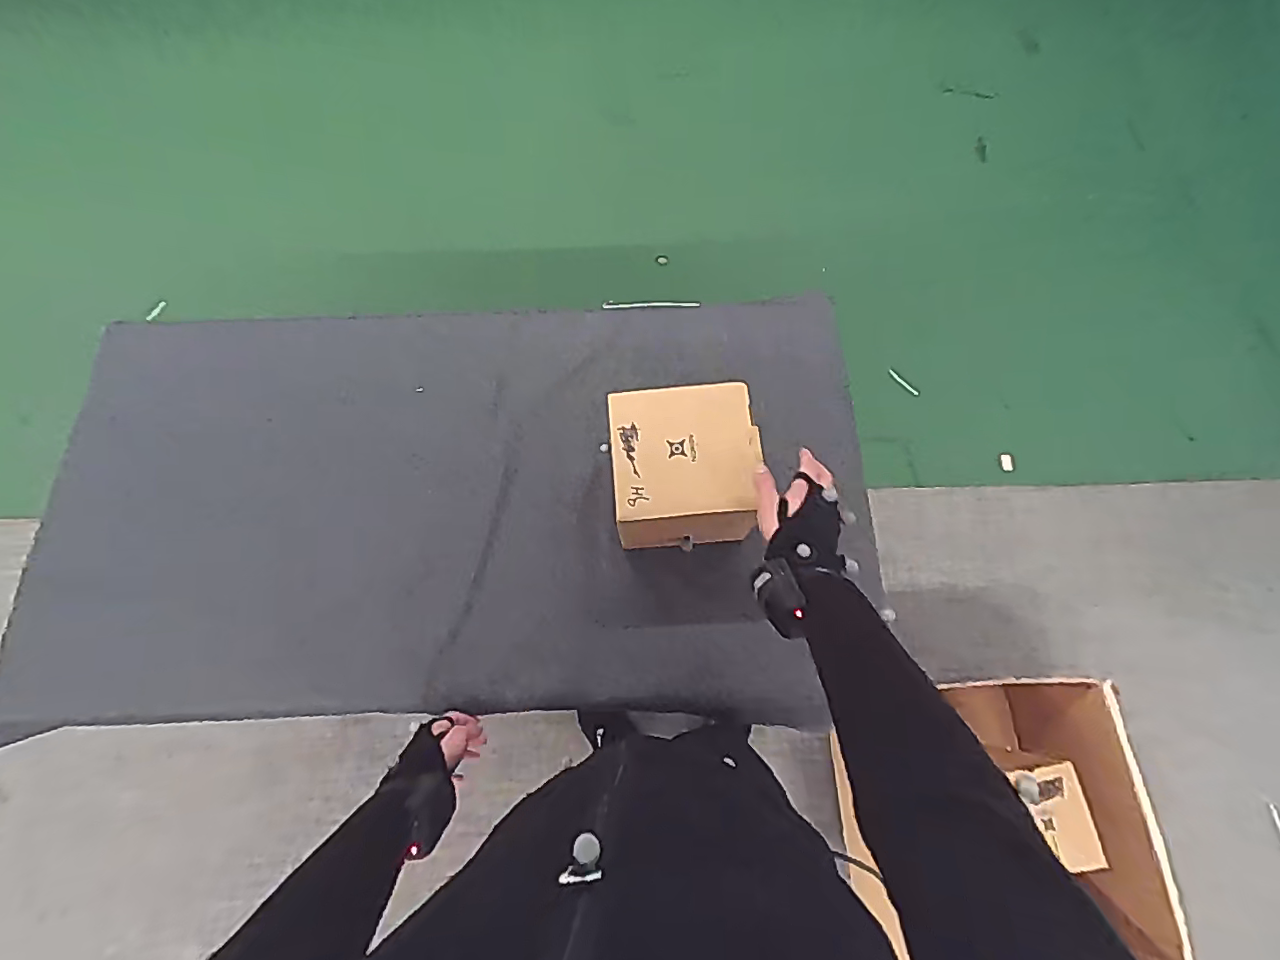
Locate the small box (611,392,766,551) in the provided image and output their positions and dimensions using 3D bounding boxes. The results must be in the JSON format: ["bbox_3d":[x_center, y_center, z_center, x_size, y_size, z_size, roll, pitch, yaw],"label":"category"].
[{"bbox_3d":[0.057,-0.004,0.739,0.179,0.176,0.168,-7,73,-1],"label":"small box"}]
